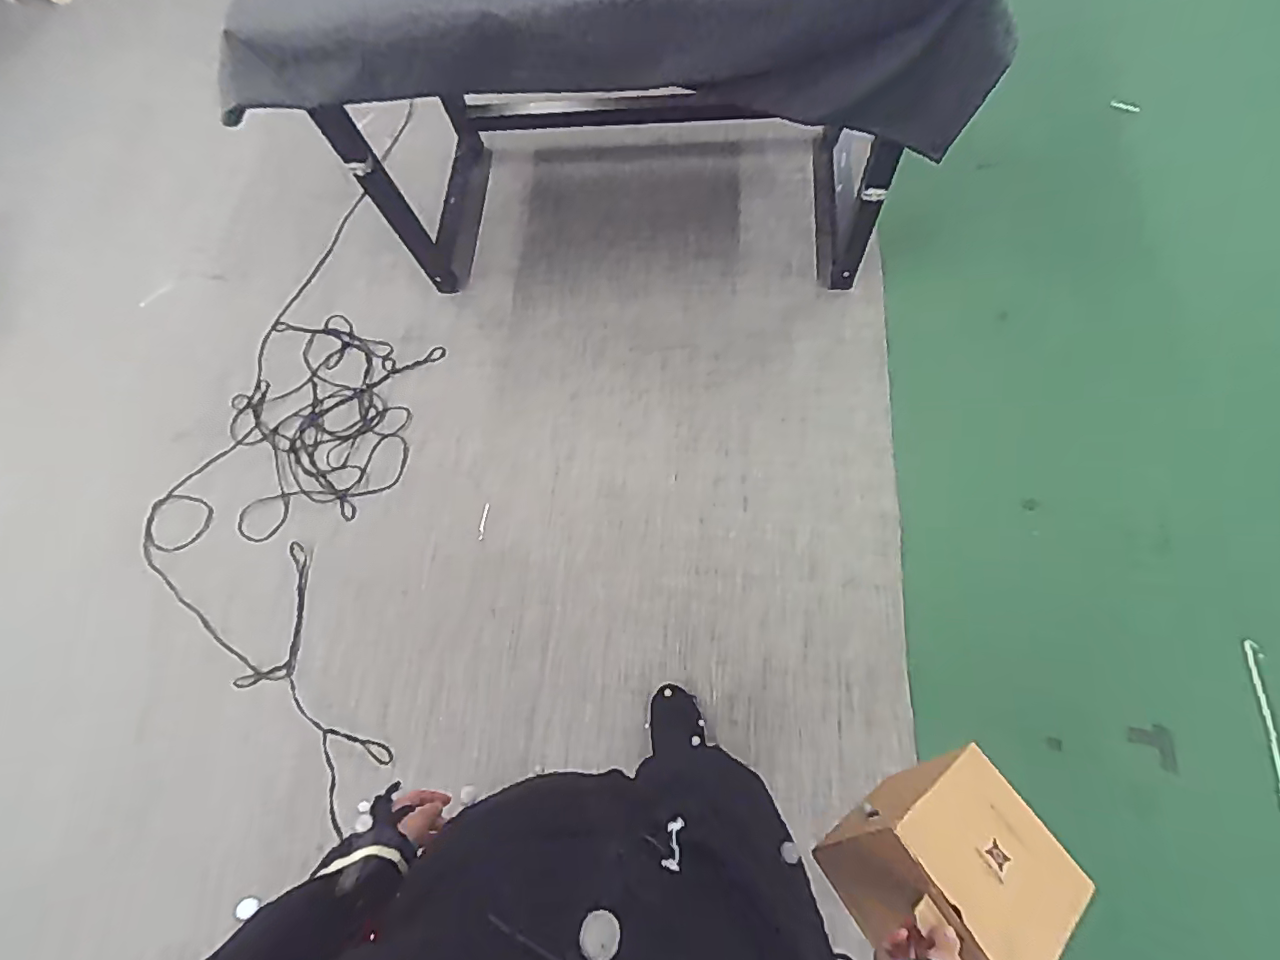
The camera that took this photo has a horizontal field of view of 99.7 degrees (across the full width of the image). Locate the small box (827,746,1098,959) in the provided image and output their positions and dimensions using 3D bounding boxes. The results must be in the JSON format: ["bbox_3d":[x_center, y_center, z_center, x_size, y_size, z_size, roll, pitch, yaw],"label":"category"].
[{"bbox_3d":[0.341,0.440,0.605,0.179,0.176,0.168,-16,58,-34],"label":"small box"}]
